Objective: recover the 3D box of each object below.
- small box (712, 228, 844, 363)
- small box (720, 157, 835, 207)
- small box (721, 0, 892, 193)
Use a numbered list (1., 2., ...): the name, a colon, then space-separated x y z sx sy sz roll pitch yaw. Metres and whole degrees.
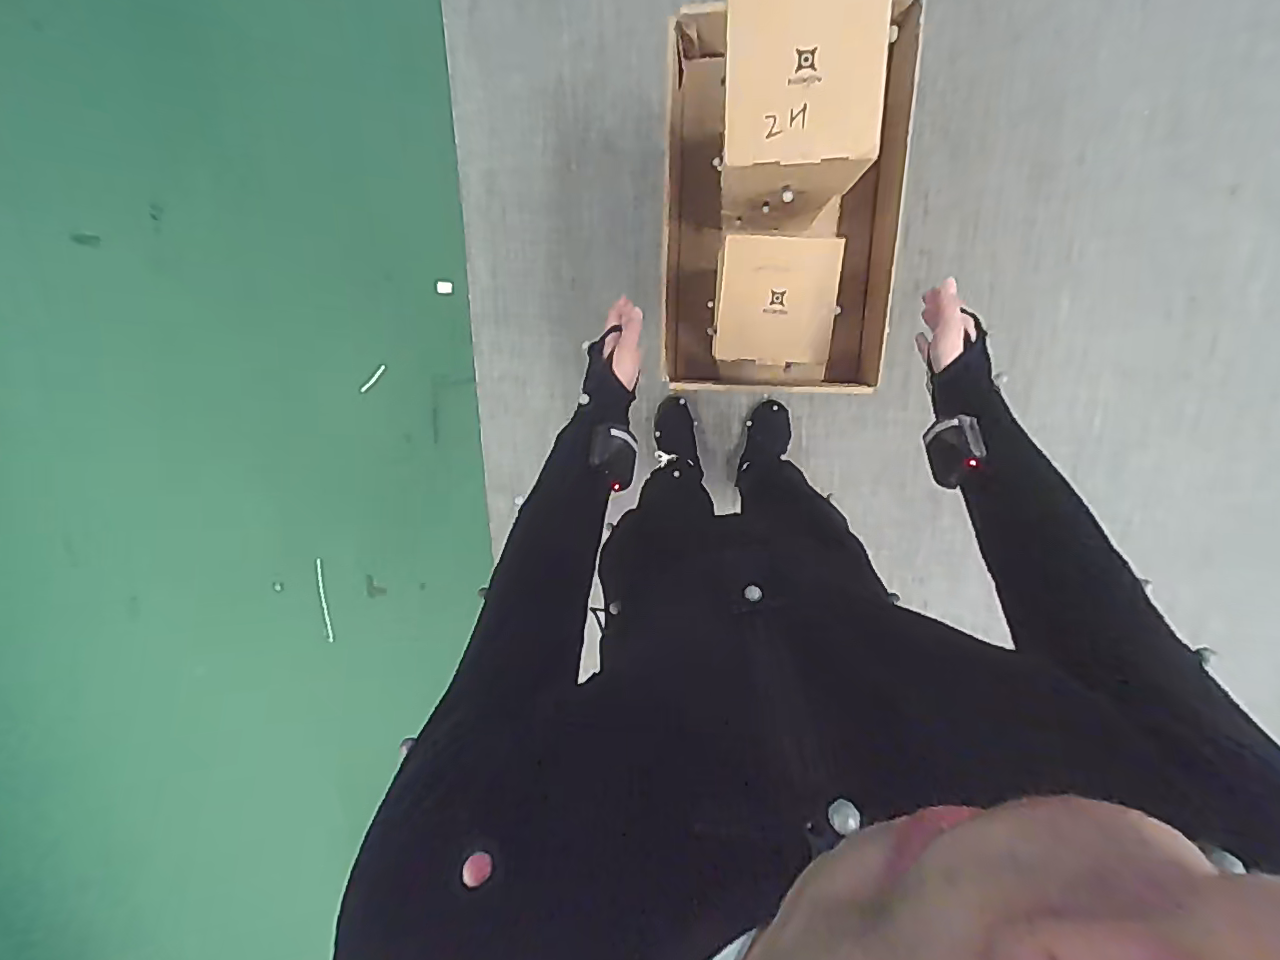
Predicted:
1. small box: 0.205 -0.280 0.846 0.168 0.176 0.179 6 103 6
2. small box: 0.207 -0.516 0.795 0.168 0.176 0.179 3 107 7
3. small box: 0.183 -0.459 0.641 0.168 0.176 0.179 2 106 8
